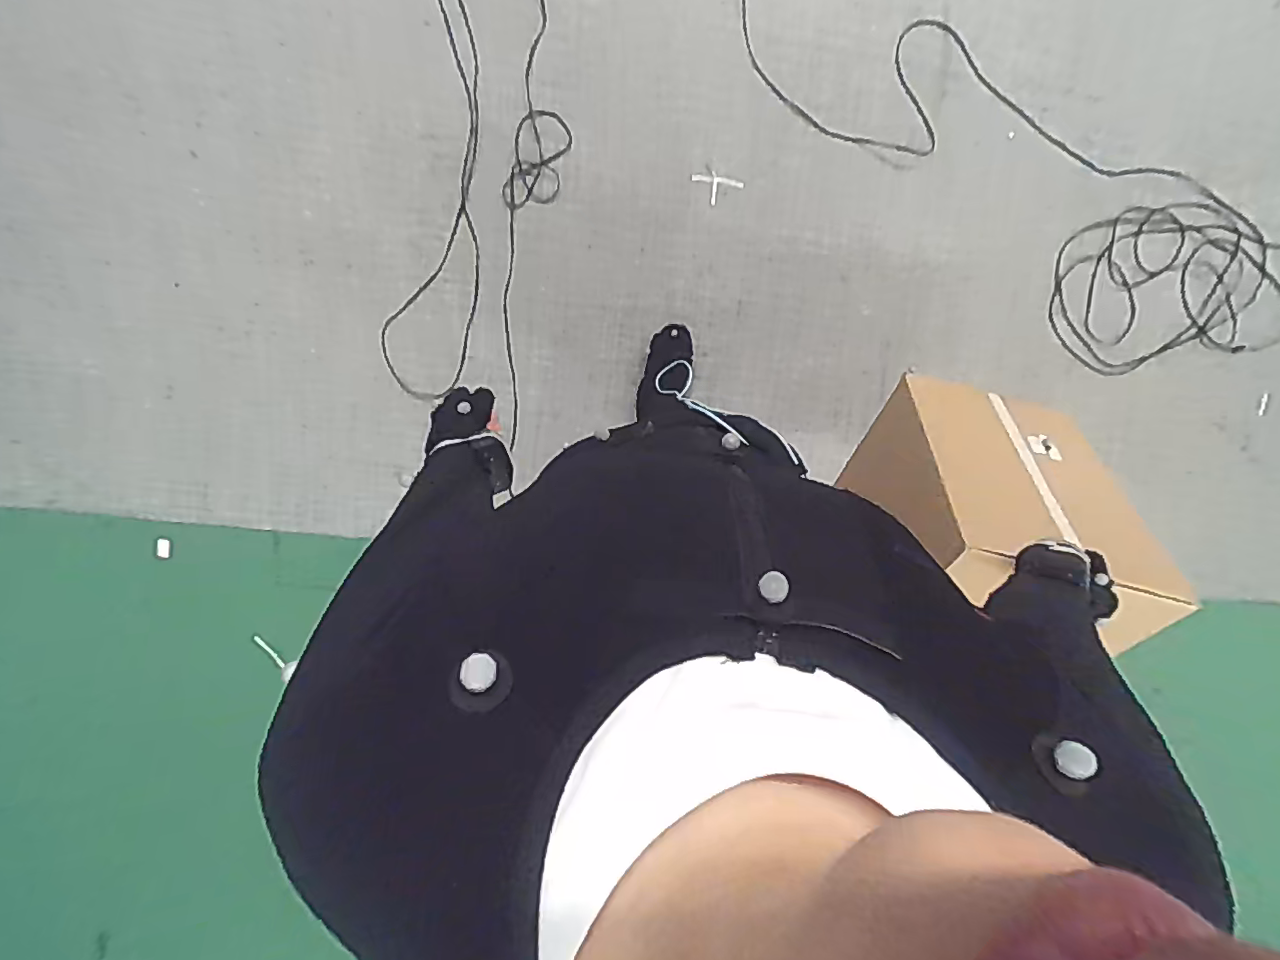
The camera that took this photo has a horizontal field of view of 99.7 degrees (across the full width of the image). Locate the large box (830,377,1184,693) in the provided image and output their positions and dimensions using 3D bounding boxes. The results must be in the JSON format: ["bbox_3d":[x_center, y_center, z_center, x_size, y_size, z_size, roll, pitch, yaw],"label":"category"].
[{"bbox_3d":[0.553,0.088,0.933,0.320,0.408,0.320,15,133,-2],"label":"large box"}]
